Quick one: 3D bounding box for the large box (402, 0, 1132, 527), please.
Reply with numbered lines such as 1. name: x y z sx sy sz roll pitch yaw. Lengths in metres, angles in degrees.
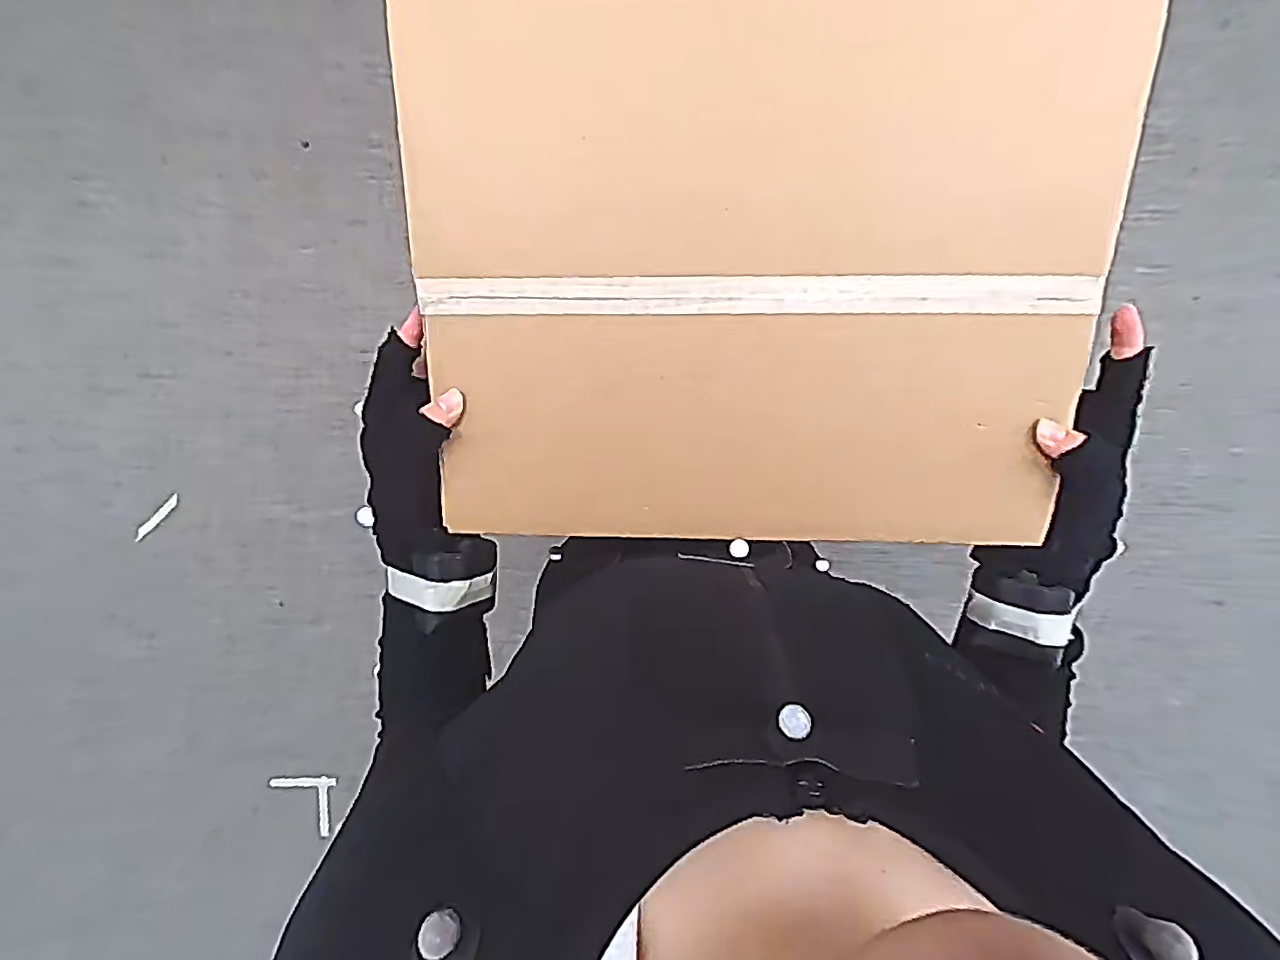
1. large box: 0.069 -0.157 0.477 0.408 0.320 0.320 1 108 2
